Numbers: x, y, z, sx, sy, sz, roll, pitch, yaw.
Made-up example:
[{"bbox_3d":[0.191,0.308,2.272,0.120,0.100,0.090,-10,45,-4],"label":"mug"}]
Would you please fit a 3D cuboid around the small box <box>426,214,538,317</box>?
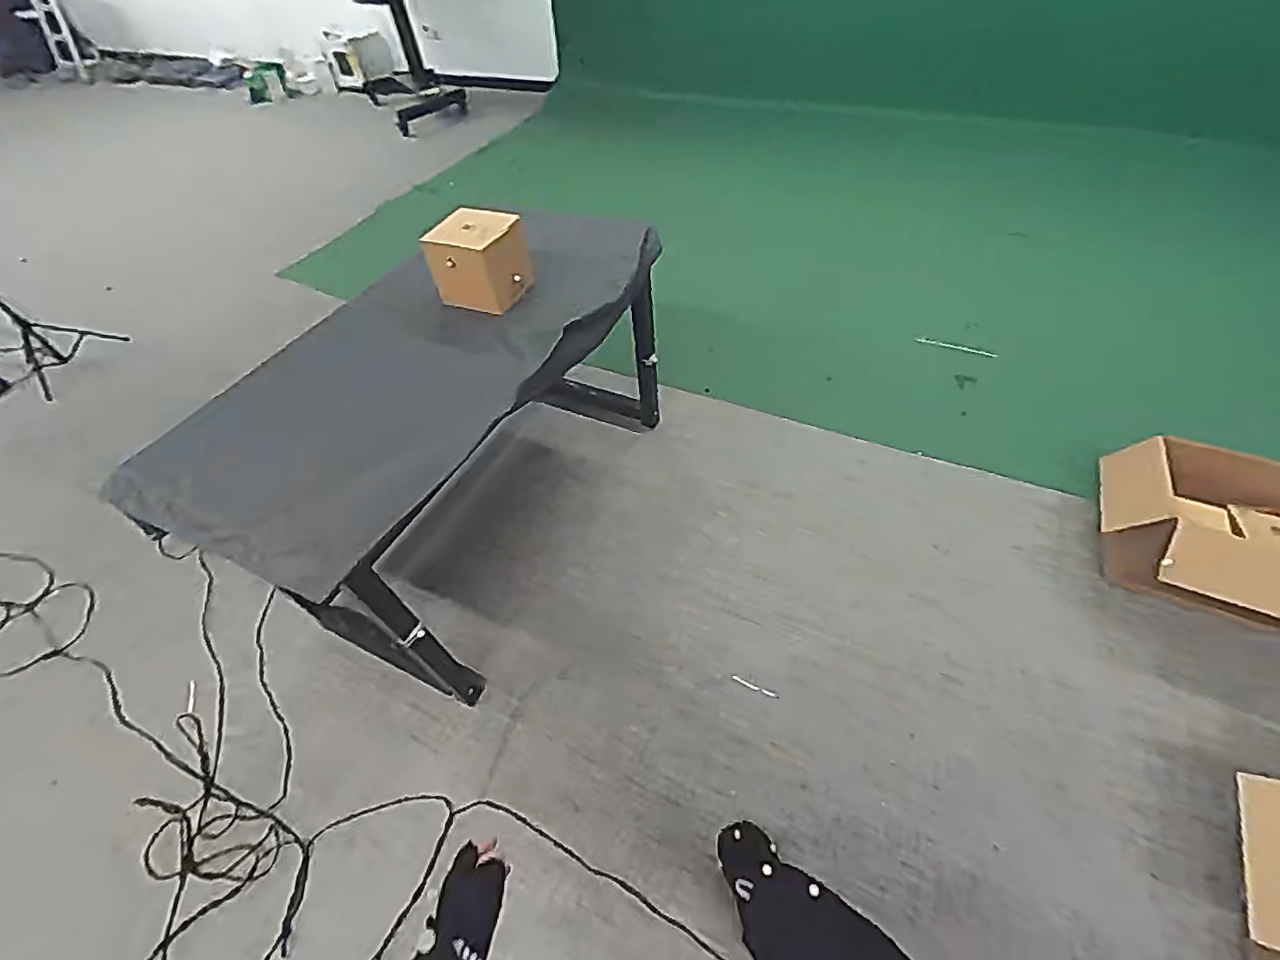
[{"bbox_3d":[-0.377,-0.521,1.320,0.179,0.176,0.168,17,55,18],"label":"small box"}]
